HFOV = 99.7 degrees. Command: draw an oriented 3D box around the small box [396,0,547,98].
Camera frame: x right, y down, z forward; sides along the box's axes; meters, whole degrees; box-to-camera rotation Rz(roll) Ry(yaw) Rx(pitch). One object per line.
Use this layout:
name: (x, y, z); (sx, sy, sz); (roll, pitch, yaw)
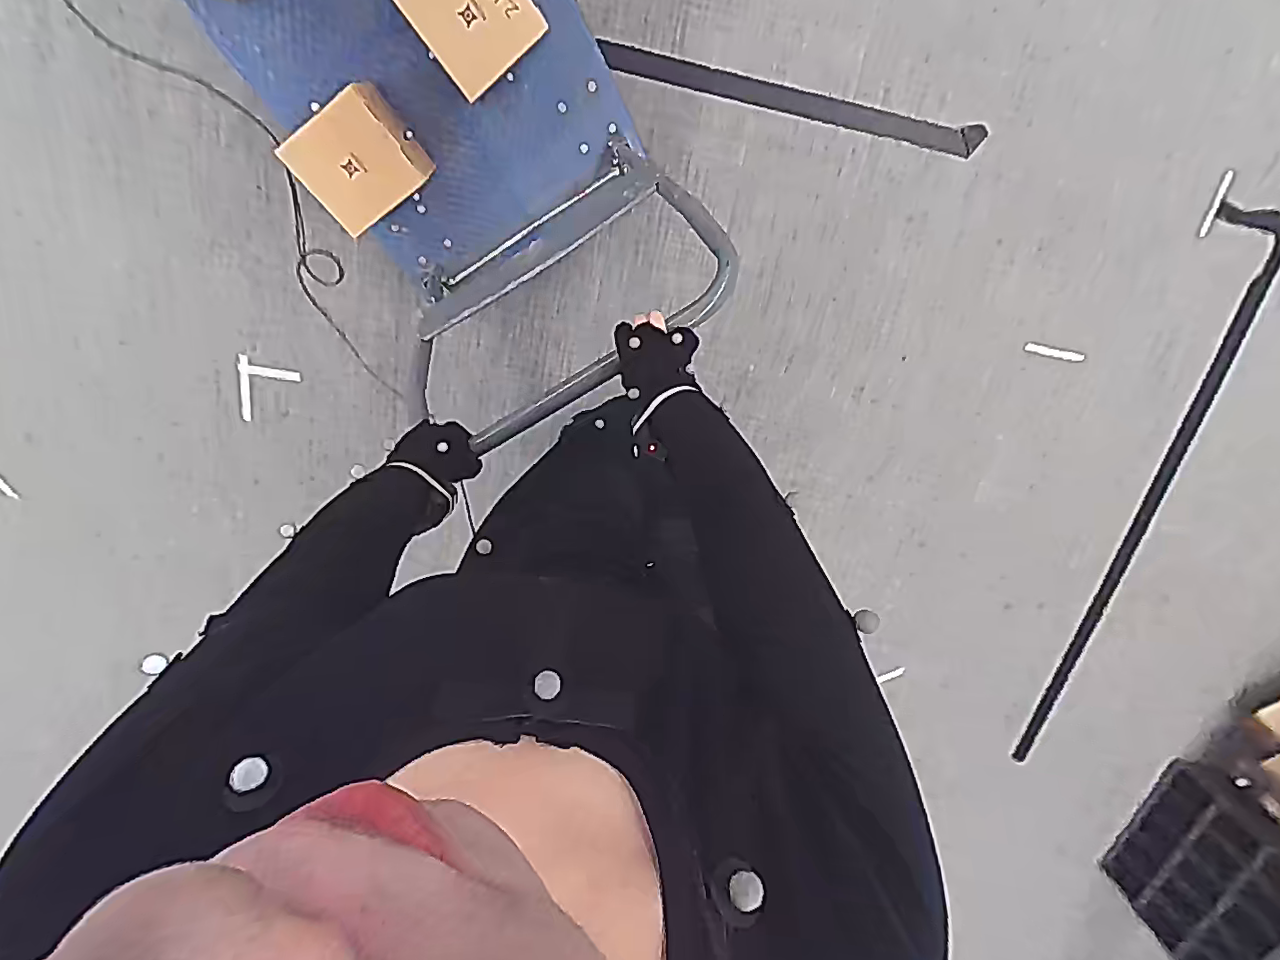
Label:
small box: (-0.271, -0.776, 0.897); (0.179, 0.176, 0.168); (-34, 126, 14)

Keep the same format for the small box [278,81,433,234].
small box: (-0.504, -0.588, 0.988); (0.179, 0.176, 0.168); (-33, 127, 11)
